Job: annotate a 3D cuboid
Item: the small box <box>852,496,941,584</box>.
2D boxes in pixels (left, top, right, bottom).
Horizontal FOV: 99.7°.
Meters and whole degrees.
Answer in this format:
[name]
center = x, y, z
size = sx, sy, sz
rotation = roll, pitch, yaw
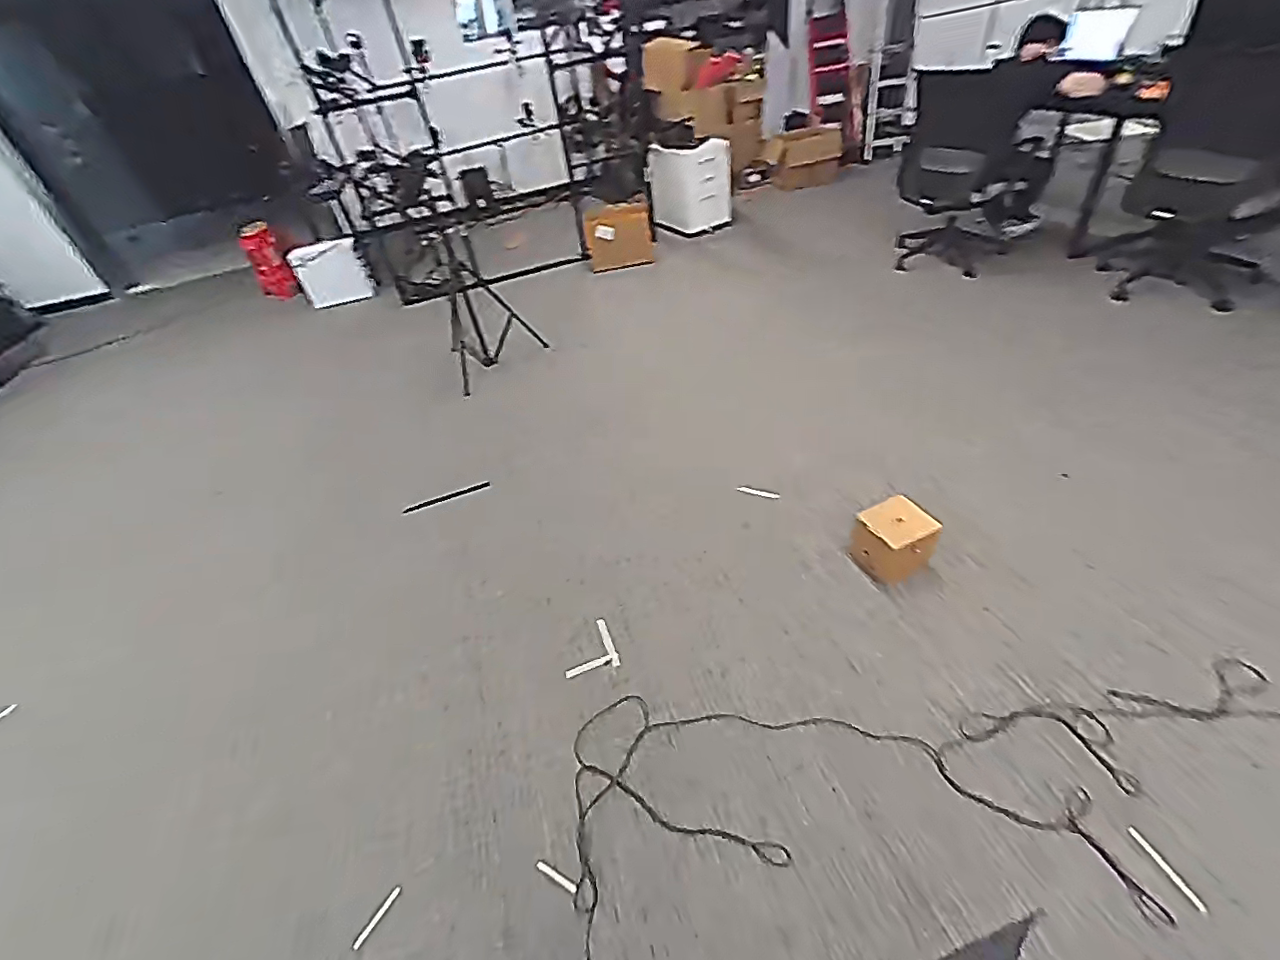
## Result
[small box]
center = 0.771, 0.183, 1.647
size = 0.179, 0.176, 0.168
rotation = -22, 41, -12
